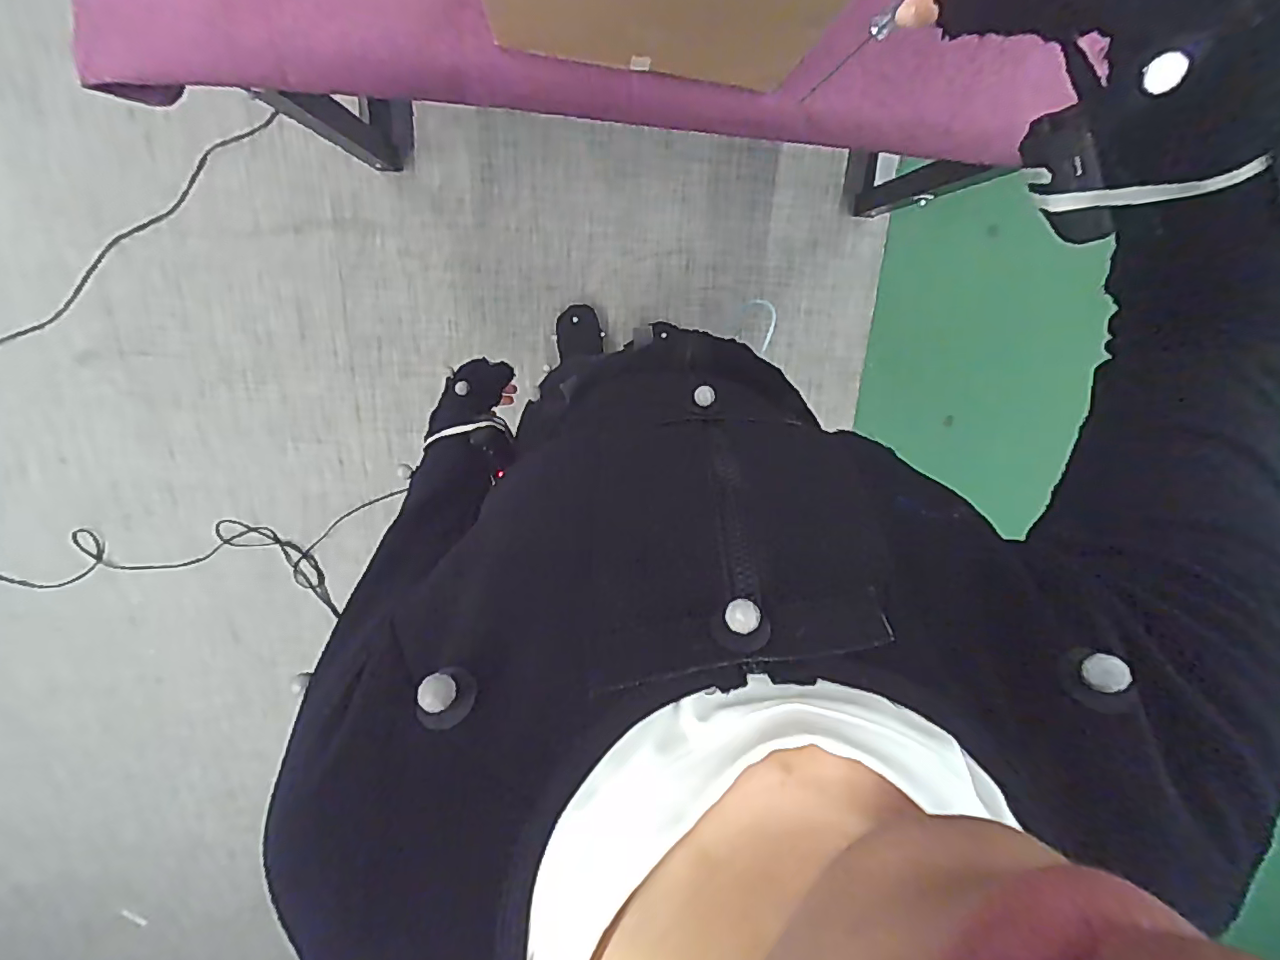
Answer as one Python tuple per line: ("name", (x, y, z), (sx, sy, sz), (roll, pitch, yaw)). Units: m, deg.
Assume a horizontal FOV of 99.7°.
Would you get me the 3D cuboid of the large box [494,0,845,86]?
("large box", (0.036, -0.605, 0.405), (0.320, 0.320, 0.408), (5, 108, -6))
